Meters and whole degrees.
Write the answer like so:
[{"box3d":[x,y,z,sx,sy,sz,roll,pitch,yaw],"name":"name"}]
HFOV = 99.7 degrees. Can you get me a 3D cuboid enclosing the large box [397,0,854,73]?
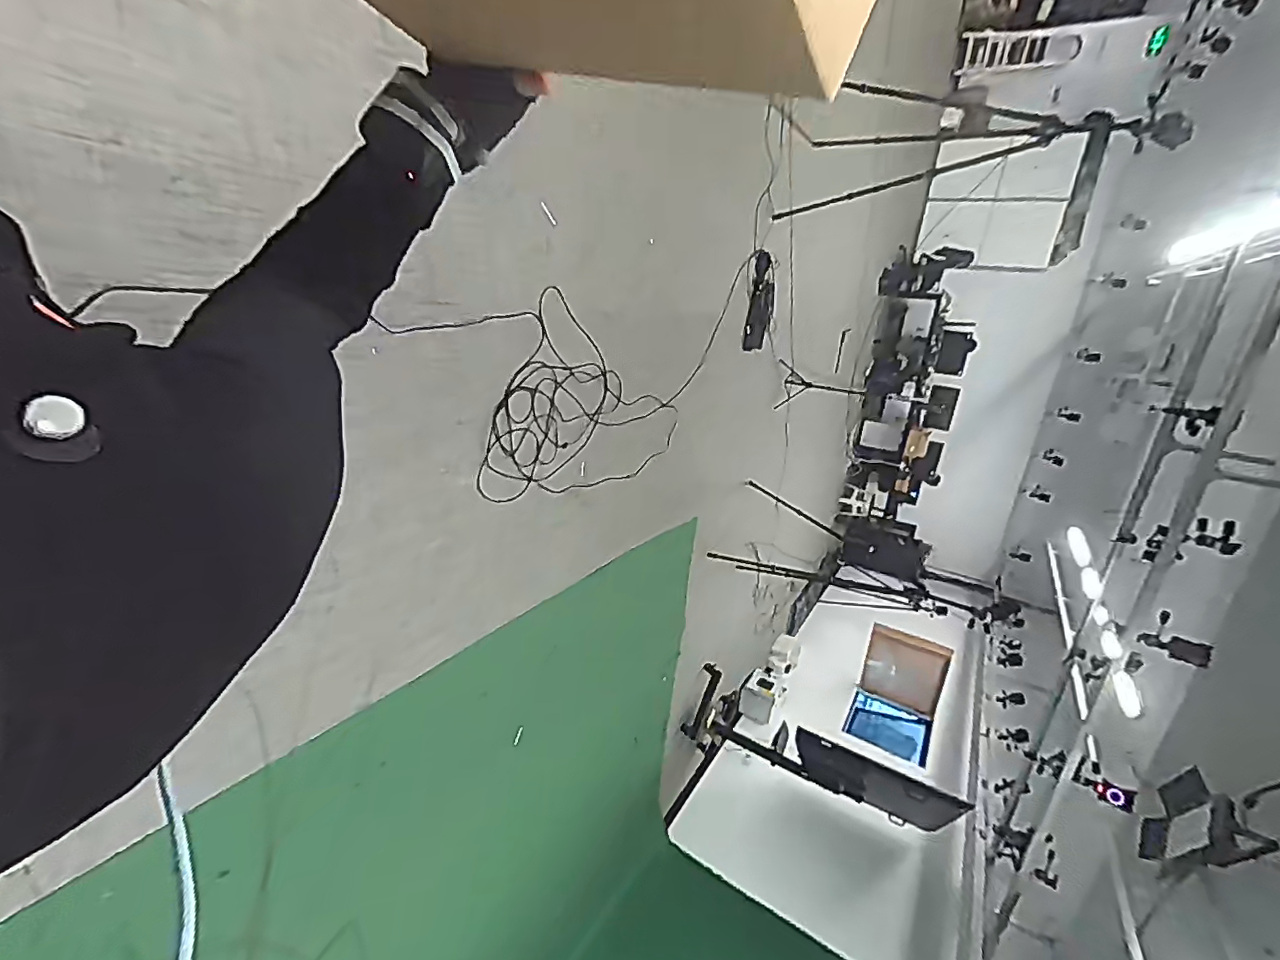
[{"box3d":[-0.071,-0.402,0.149,0.408,0.320,0.320,-10,122,-62],"name":"large box"}]
